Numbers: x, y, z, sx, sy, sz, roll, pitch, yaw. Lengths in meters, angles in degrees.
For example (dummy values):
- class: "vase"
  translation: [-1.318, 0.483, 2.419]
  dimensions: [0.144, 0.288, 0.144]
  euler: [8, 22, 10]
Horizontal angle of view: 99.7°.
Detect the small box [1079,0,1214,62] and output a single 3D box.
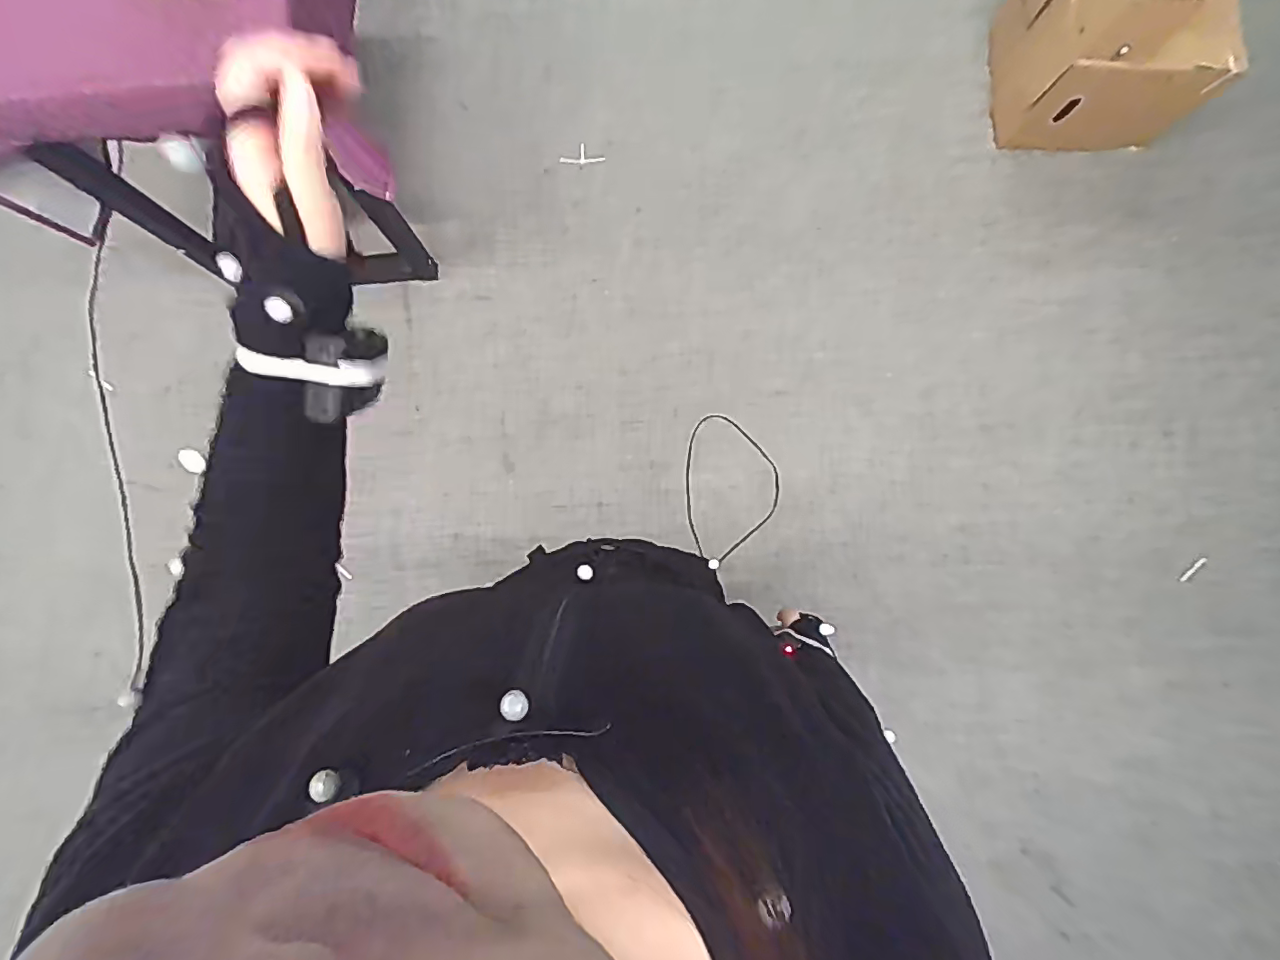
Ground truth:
- class: "small box"
  translation: [1.210, -1.152, 1.300]
  dimensions: [0.179, 0.176, 0.168]
  euler: [5, 83, -1]
